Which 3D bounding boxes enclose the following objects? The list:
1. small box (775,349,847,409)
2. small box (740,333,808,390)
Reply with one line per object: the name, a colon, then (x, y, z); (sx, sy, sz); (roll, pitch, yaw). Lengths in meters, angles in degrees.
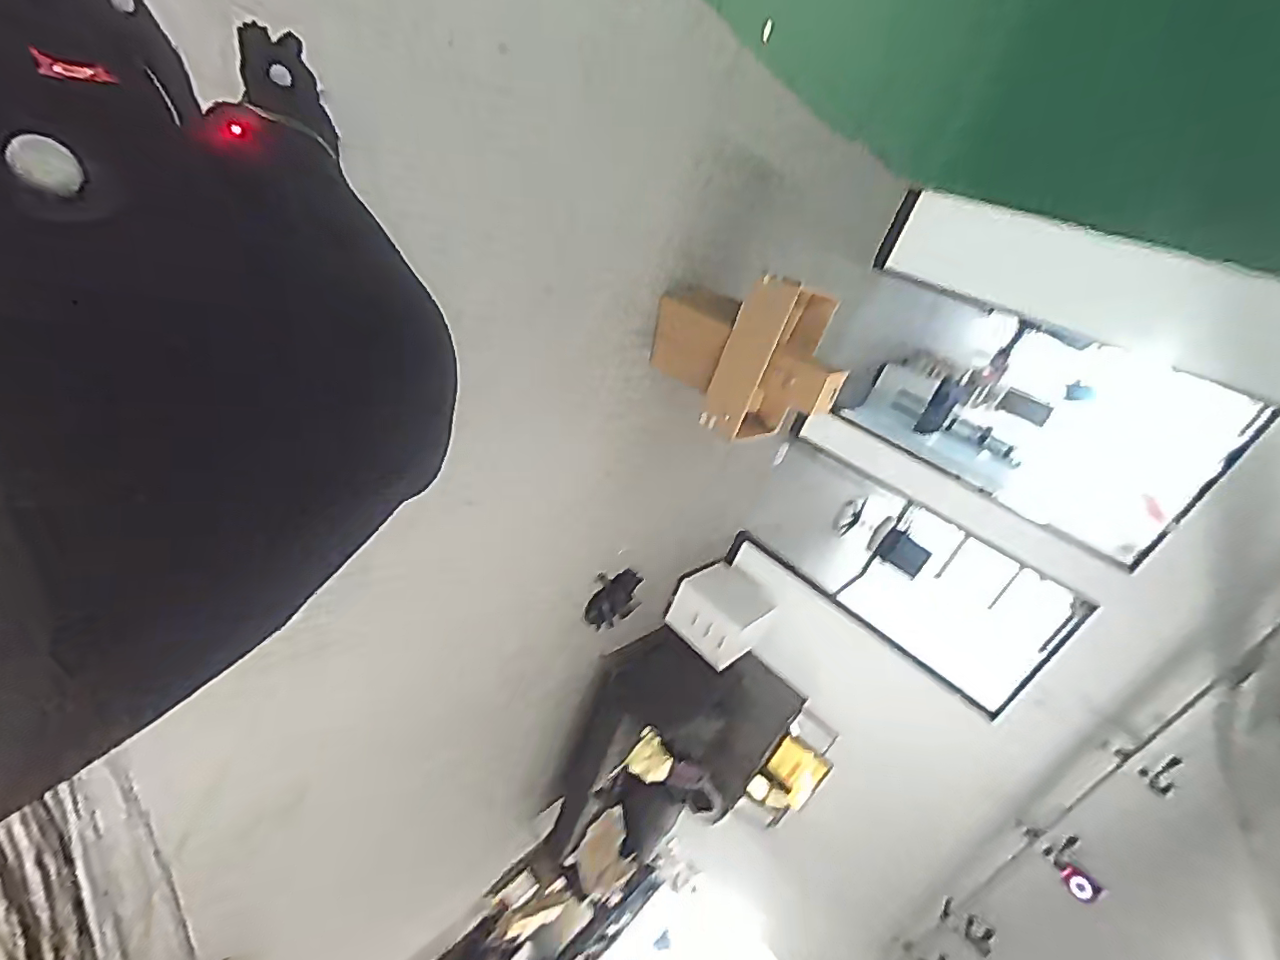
small box: (0.642, -0.388, 2.043); (0.179, 0.176, 0.168); (-18, 134, -44)
small box: (0.524, -0.470, 2.123); (0.179, 0.176, 0.168); (-21, 135, -45)
